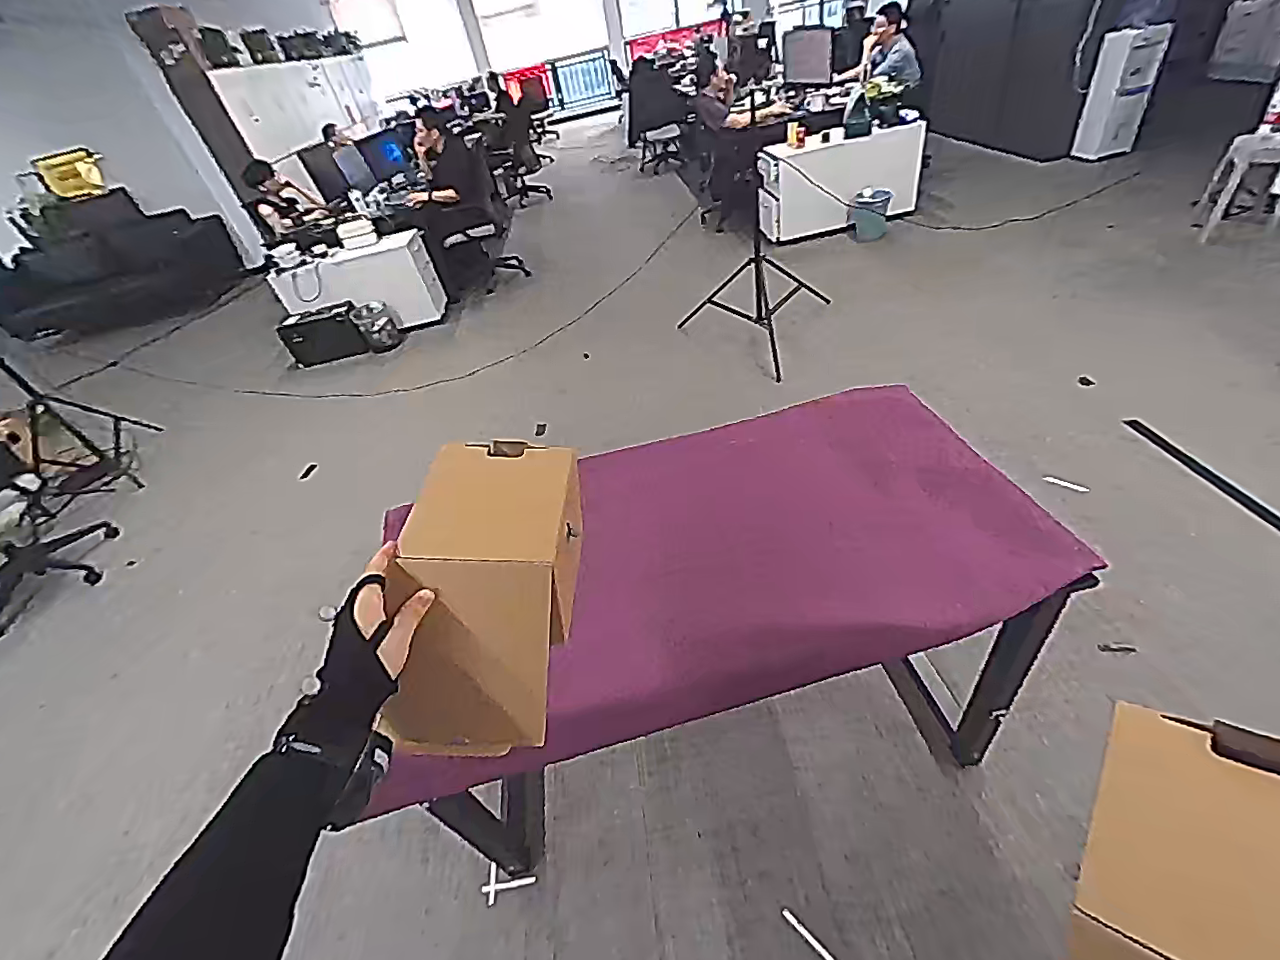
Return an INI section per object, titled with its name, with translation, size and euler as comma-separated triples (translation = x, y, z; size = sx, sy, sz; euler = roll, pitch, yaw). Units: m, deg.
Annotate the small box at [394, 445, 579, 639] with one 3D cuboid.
[small box]
translation = -0.167, 0.077, 0.661
size = 0.168, 0.176, 0.179
euler = 2, 44, 0
